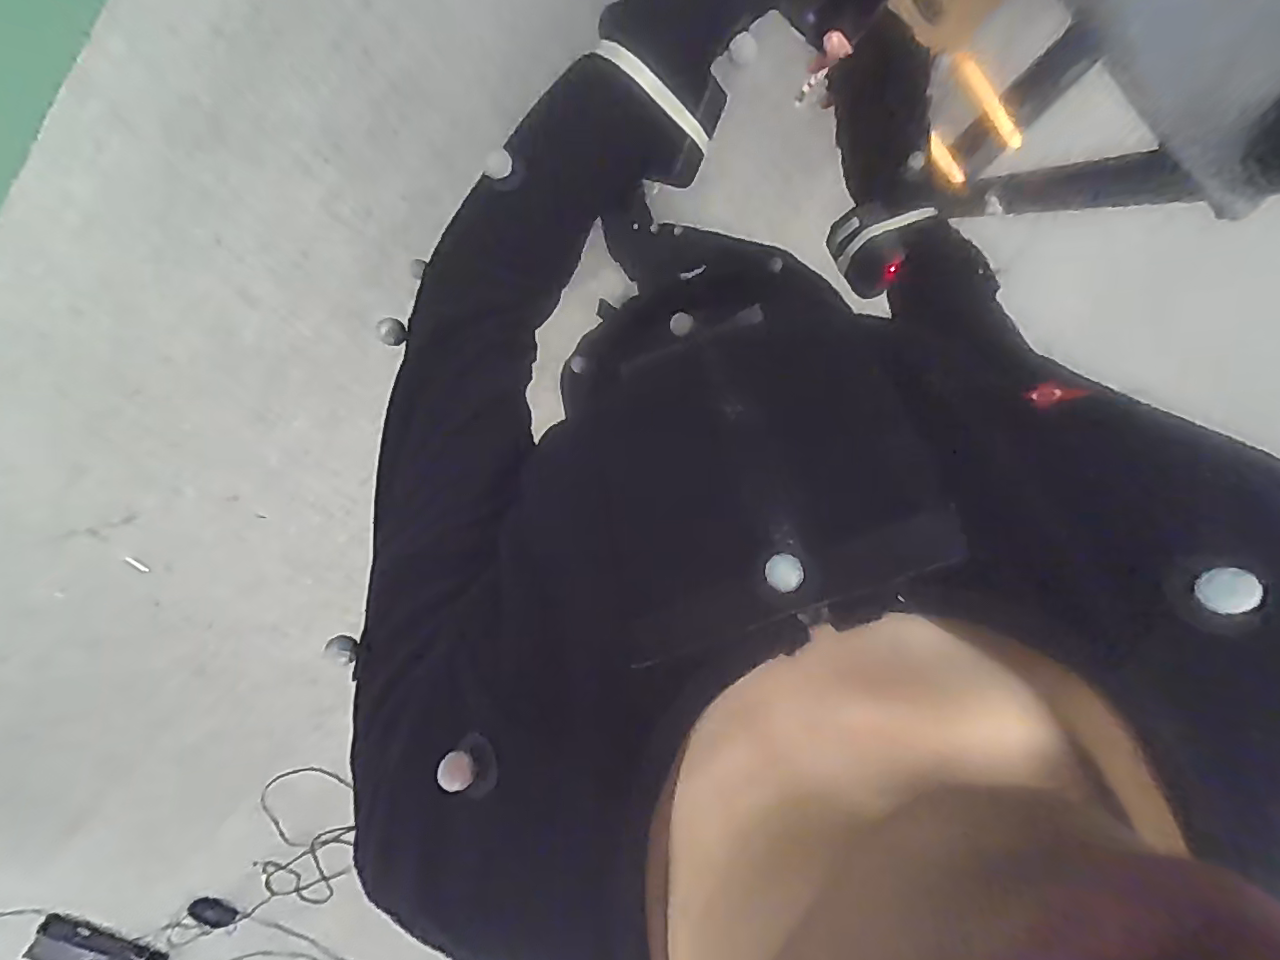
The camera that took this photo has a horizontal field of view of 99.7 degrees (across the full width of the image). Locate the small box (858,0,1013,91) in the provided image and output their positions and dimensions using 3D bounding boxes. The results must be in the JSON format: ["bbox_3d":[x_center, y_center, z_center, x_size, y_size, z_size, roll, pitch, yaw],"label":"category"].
[{"bbox_3d":[0.526,-0.859,0.984,0.179,0.176,0.168,-41,110,14],"label":"small box"}]
